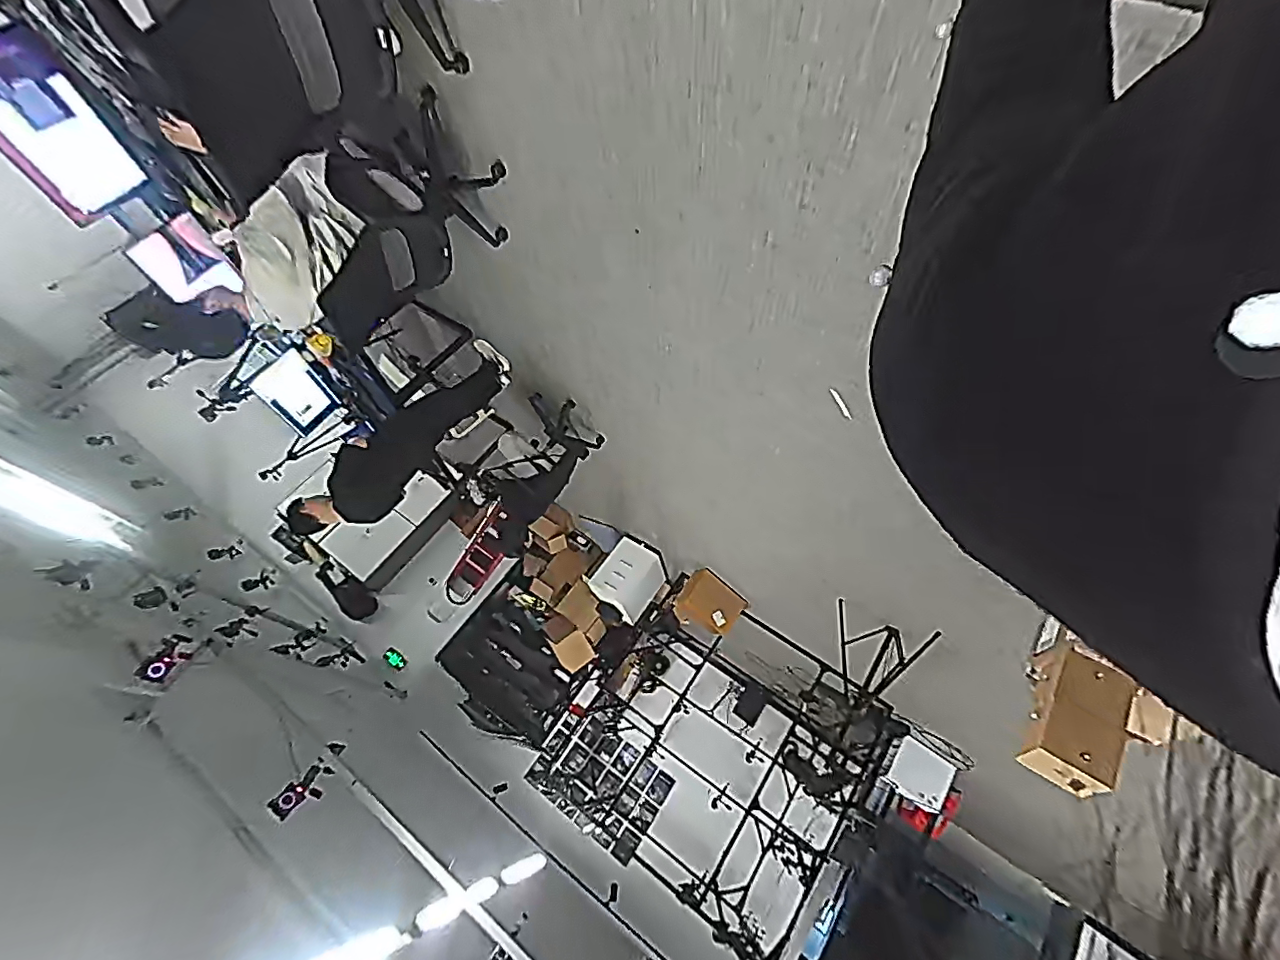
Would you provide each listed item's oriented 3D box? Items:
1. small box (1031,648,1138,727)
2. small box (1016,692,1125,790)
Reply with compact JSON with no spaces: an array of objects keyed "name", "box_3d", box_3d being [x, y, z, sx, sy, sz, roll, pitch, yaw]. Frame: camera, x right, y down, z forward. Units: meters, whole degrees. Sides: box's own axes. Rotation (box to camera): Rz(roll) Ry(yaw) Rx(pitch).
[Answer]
[{"name":"small box","box_3d":[1.313,0.622,1.601,0.179,0.176,0.168,28,153,26]},{"name":"small box","box_3d":[1.216,0.734,1.528,0.179,0.176,0.168,28,152,26]}]
